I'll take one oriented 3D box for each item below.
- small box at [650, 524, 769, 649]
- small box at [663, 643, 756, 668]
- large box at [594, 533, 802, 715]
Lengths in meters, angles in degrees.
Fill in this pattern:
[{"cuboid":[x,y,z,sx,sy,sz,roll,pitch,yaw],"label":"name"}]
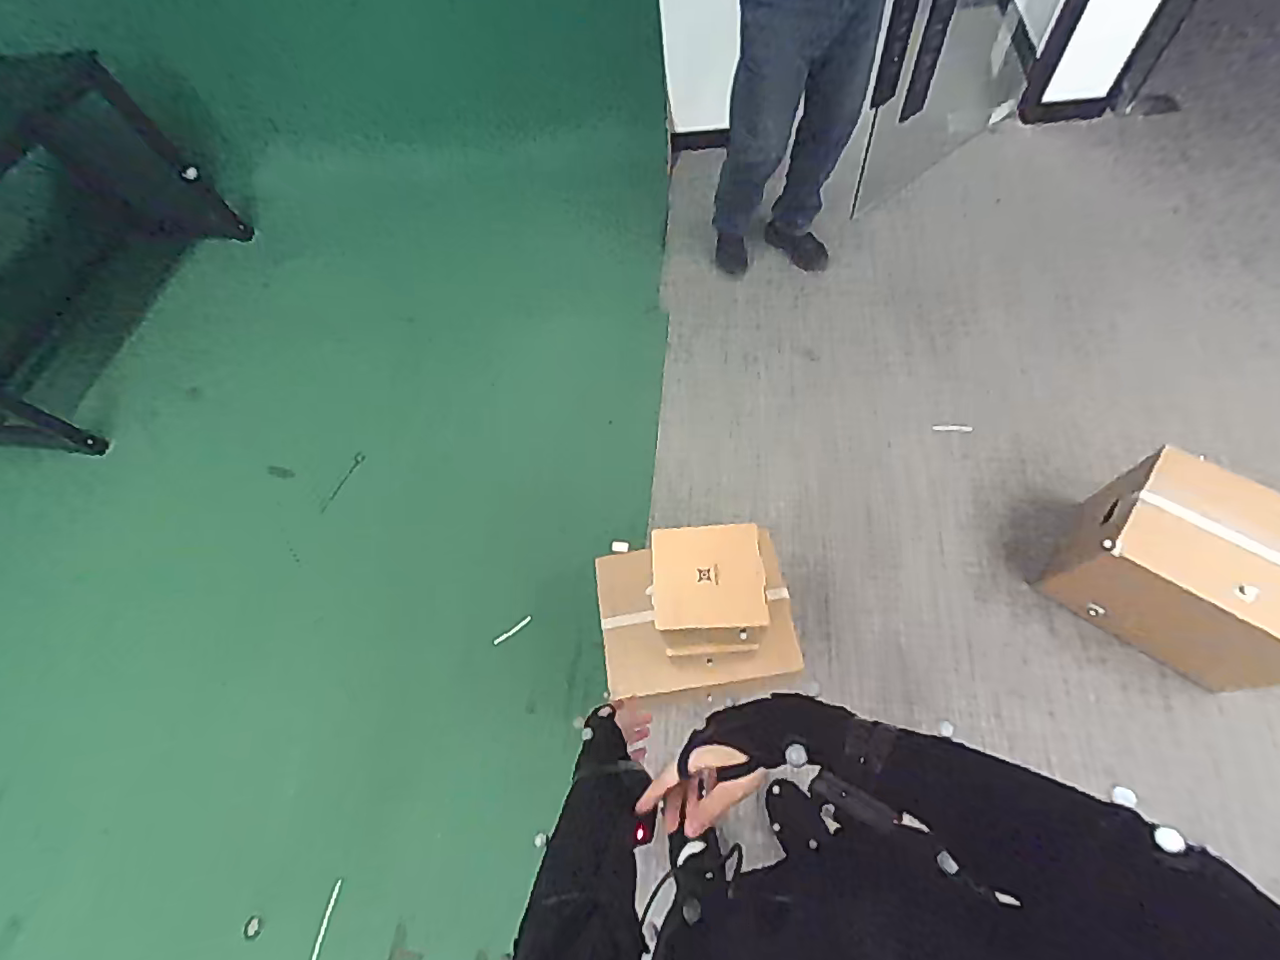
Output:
[{"cuboid":[0.114,0.186,0.914,0.179,0.176,0.168,-4,63,5],"label":"small box"},{"cuboid":[0.130,0.266,1.054,0.168,0.176,0.179,-5,63,5],"label":"small box"},{"cuboid":[0.131,0.356,1.287,0.408,0.320,0.320,-11,61,4],"label":"large box"}]
